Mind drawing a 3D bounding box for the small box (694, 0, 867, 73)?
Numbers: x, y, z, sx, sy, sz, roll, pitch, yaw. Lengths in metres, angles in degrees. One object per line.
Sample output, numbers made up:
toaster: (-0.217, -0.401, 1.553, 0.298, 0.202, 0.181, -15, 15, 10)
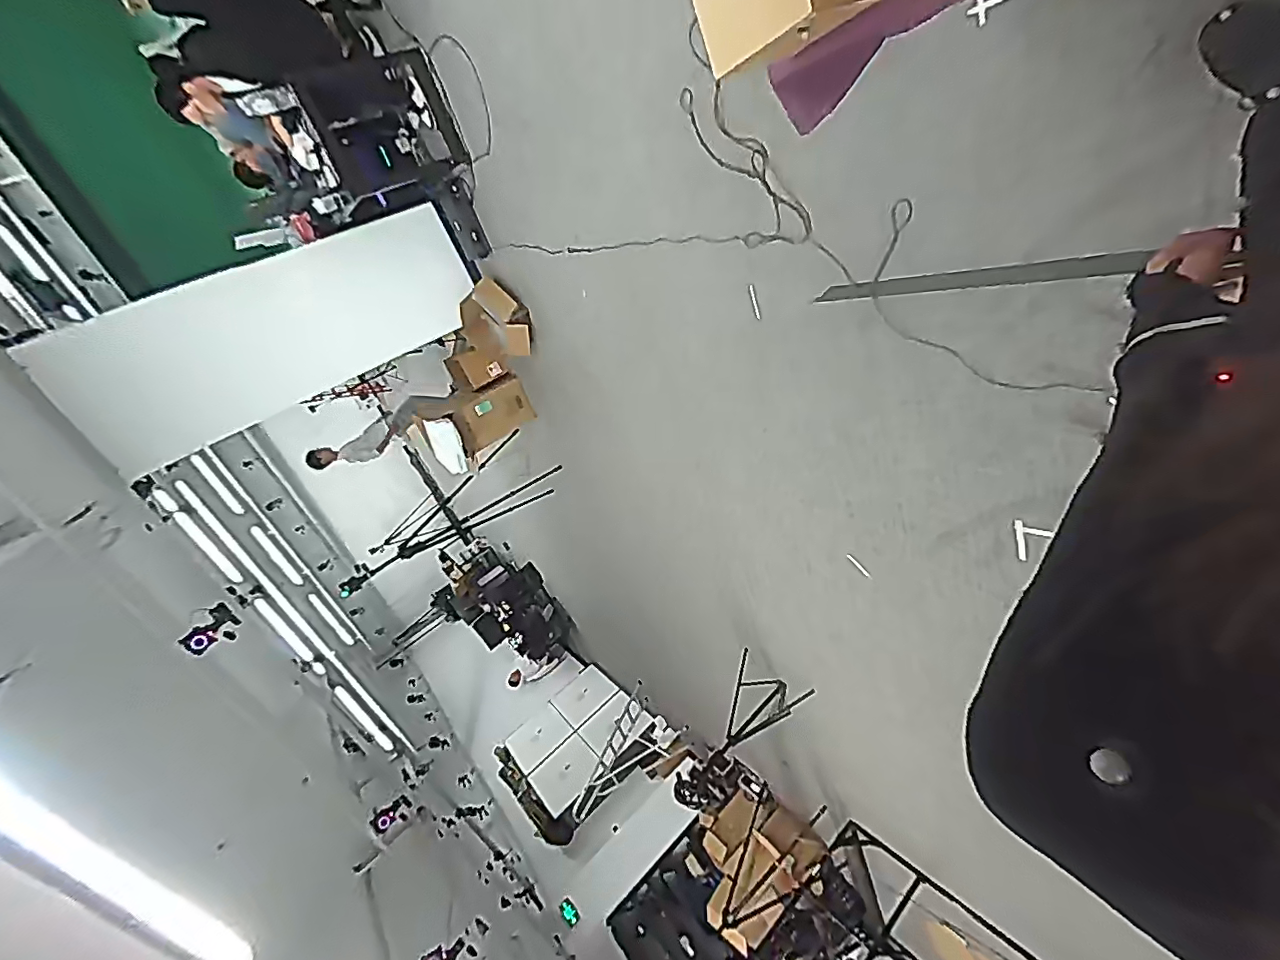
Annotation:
small box: (0.185, -0.679, 0.710, 0.179, 0.176, 0.168, 12, 132, 54)
